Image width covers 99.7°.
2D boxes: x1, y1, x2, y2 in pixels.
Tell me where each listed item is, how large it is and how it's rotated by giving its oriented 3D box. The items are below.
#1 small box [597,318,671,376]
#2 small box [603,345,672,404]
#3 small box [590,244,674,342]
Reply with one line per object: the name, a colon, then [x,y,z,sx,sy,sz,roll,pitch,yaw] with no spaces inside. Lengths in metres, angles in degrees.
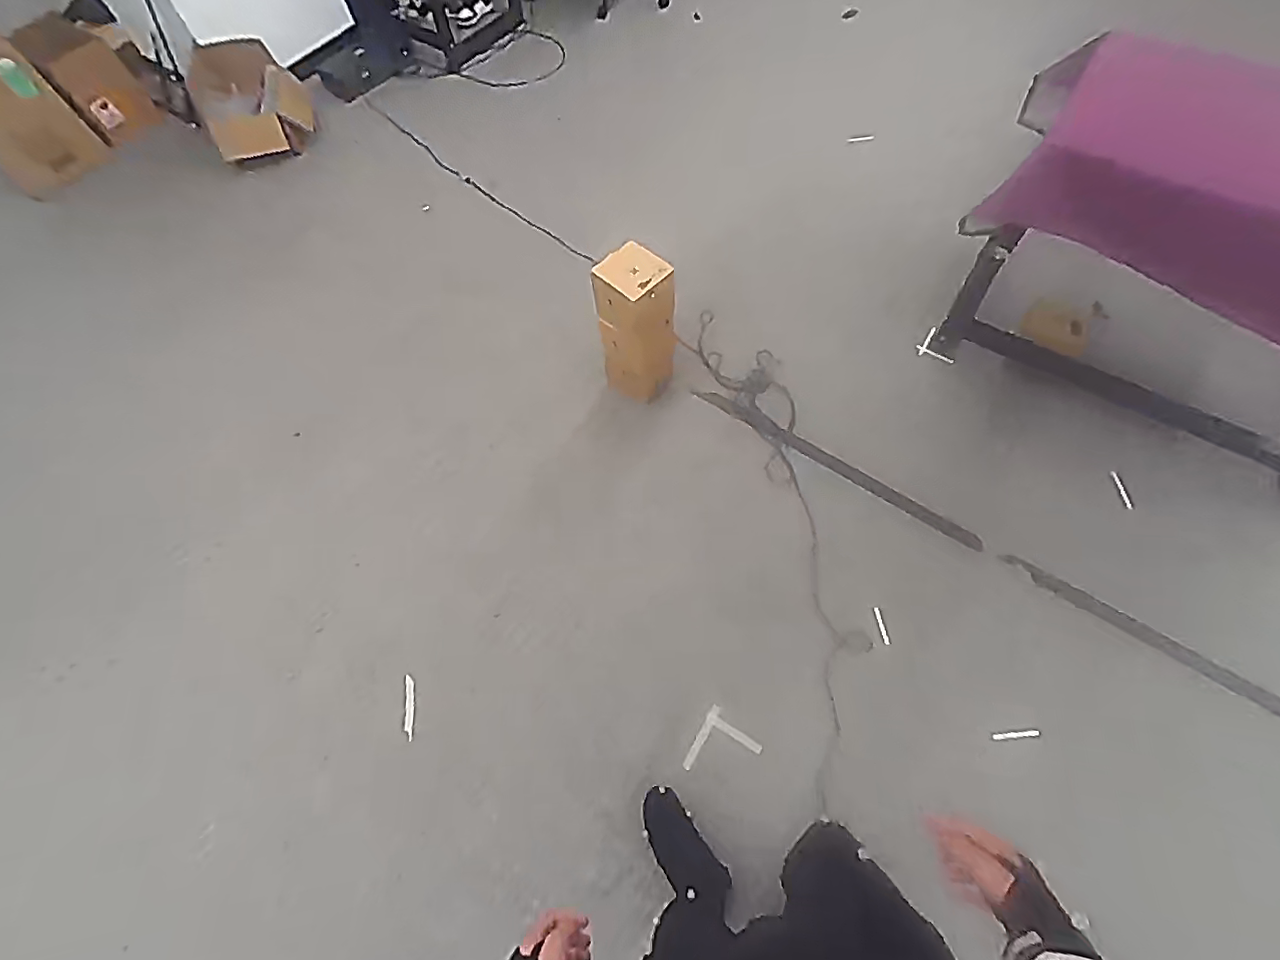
small box: [-0.012,-0.462,1.705,0.168,0.176,0.179,33,70,18]
small box: [-0.005,-0.389,1.850,0.179,0.176,0.168,32,70,17]
small box: [-0.019,-0.533,1.557,0.179,0.176,0.168,40,72,21]
